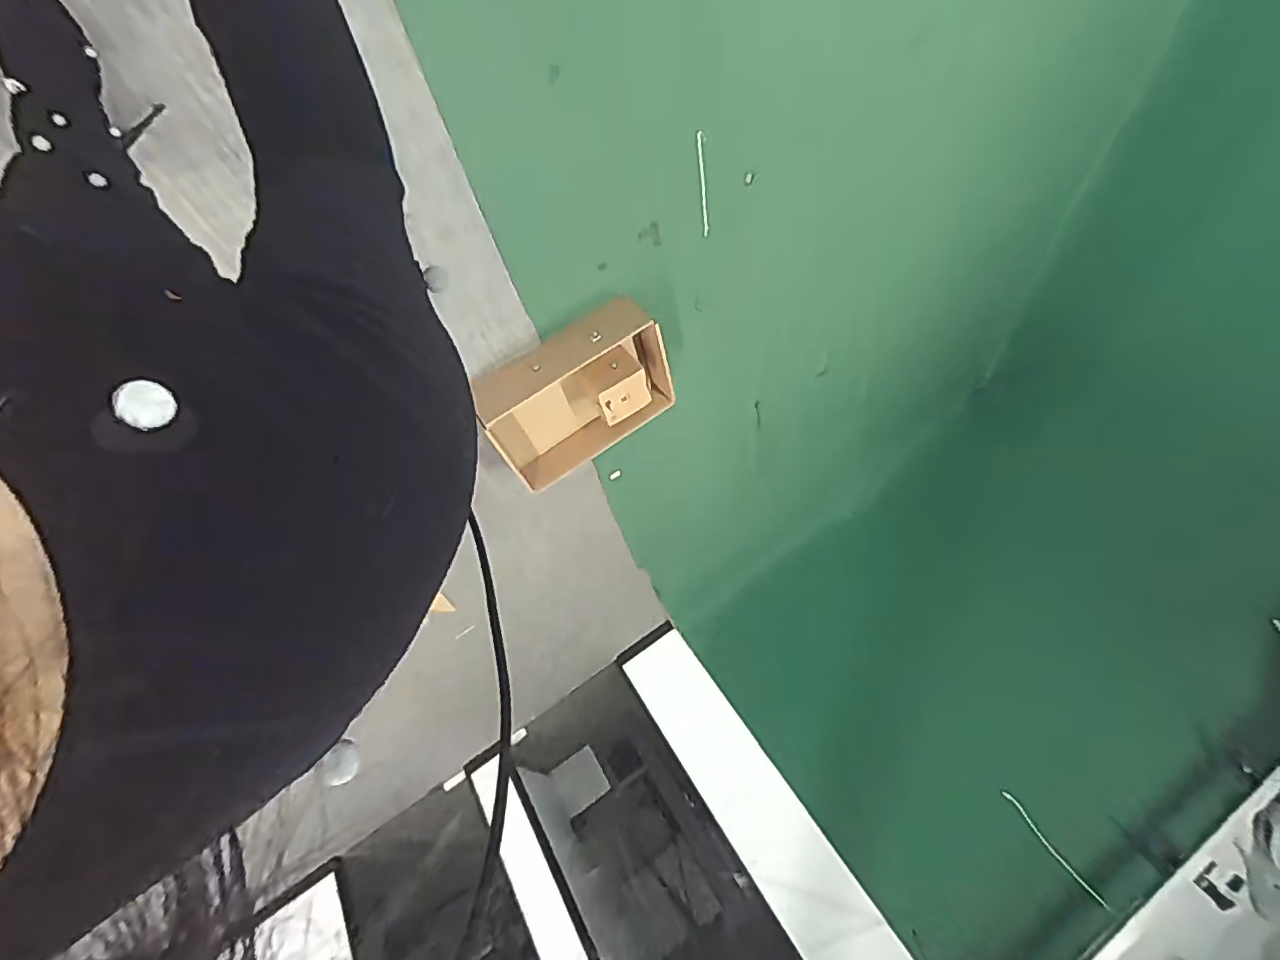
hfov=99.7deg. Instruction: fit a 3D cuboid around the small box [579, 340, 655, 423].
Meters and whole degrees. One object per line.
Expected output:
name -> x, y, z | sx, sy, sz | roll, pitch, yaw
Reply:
small box -> -0.076, -0.331, 1.795 | 0.179, 0.176, 0.168 | -33, 148, -9
